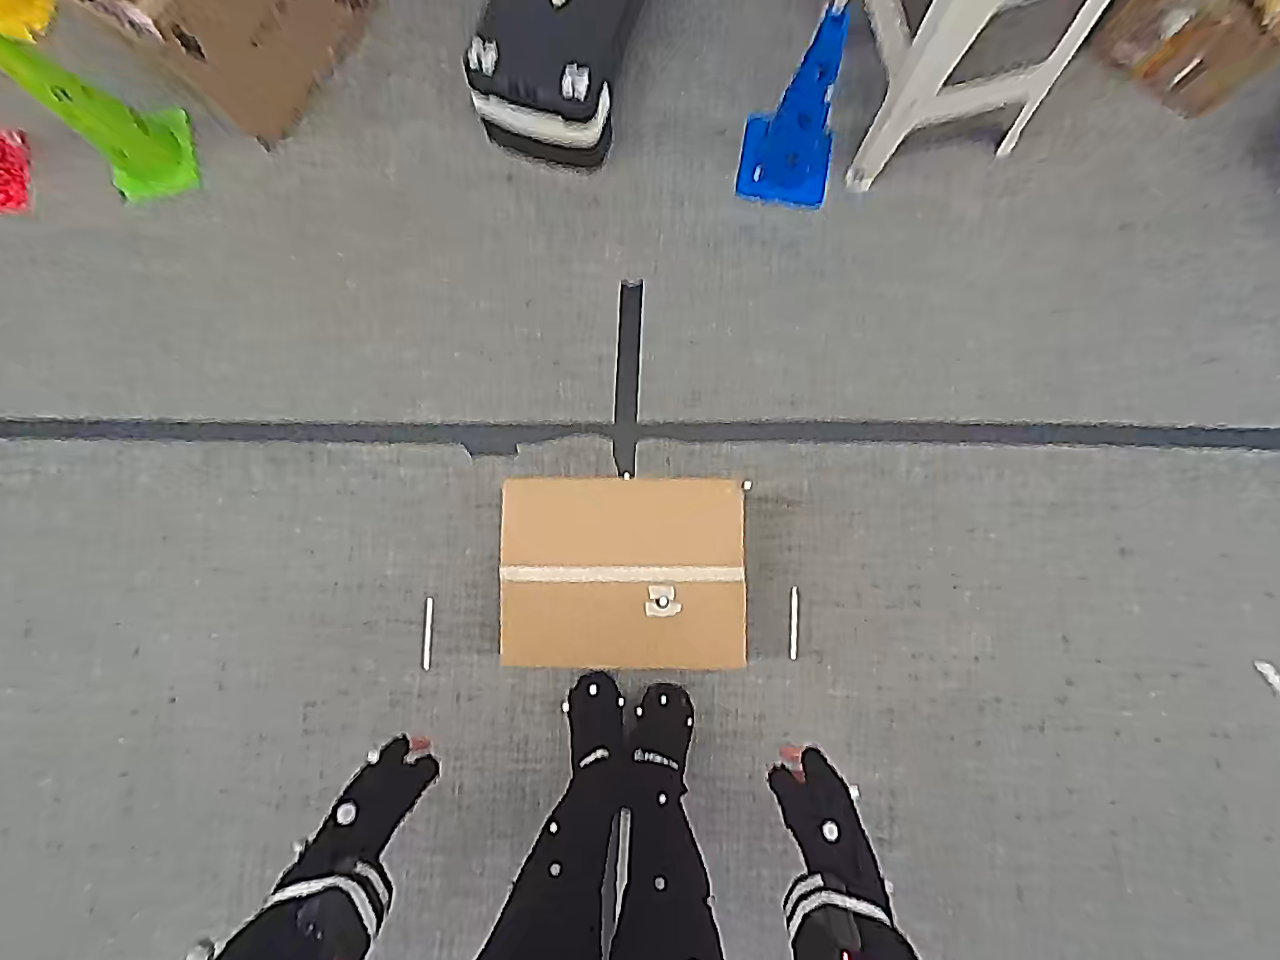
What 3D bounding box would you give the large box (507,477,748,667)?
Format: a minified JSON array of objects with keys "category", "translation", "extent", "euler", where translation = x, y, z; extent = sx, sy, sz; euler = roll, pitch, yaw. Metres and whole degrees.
[{"category":"large box","translation":[-0.023,0.162,1.043],"extent":[0.408,0.320,0.320],"euler":[0,87,1]}]
